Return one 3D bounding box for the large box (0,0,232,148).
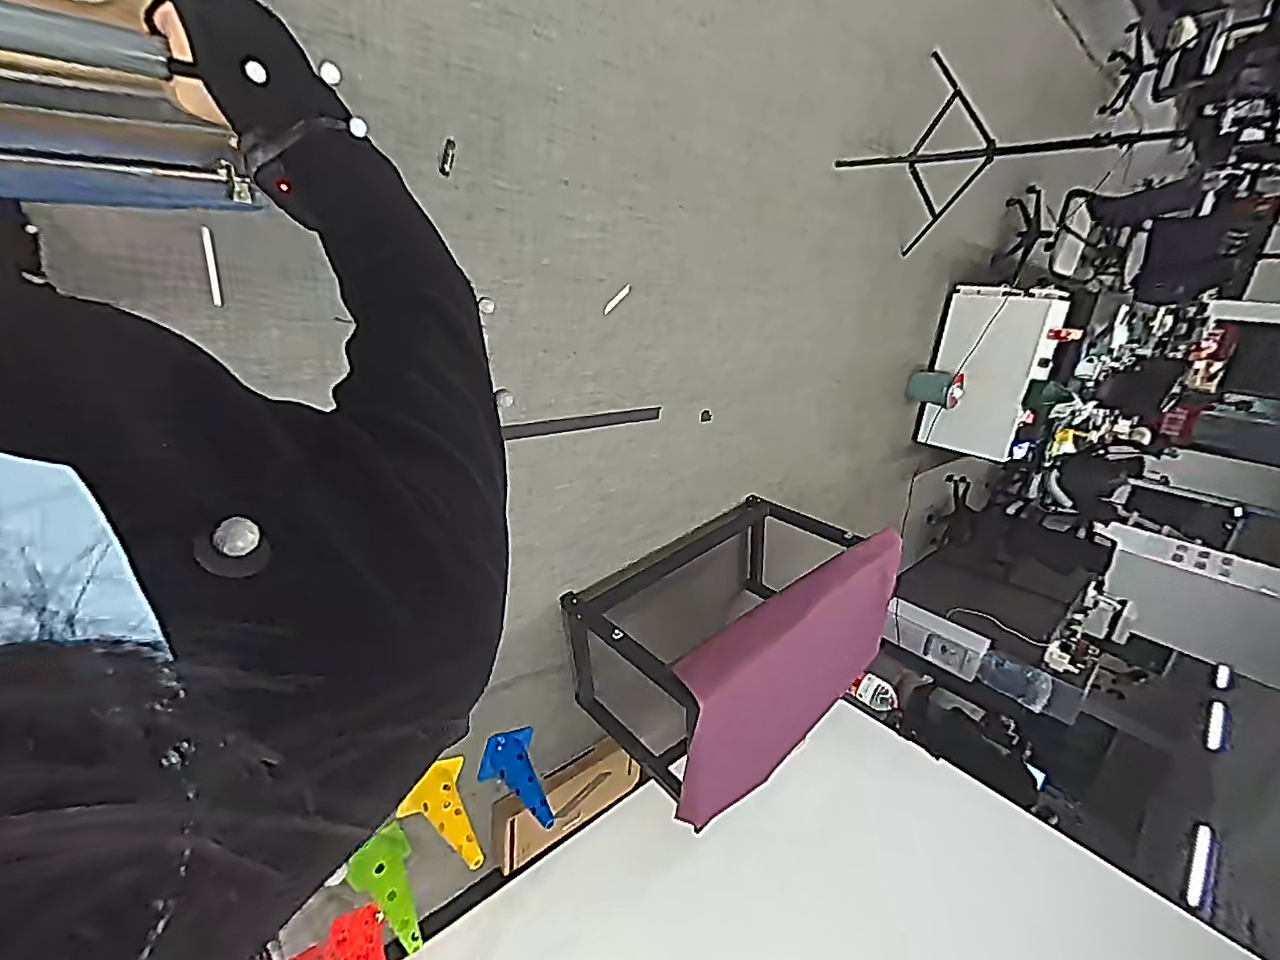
[{"bbox_3d":[-0.790,-0.621,0.645,0.408,0.320,0.320,-18,118,-40],"label":"large box"}]
